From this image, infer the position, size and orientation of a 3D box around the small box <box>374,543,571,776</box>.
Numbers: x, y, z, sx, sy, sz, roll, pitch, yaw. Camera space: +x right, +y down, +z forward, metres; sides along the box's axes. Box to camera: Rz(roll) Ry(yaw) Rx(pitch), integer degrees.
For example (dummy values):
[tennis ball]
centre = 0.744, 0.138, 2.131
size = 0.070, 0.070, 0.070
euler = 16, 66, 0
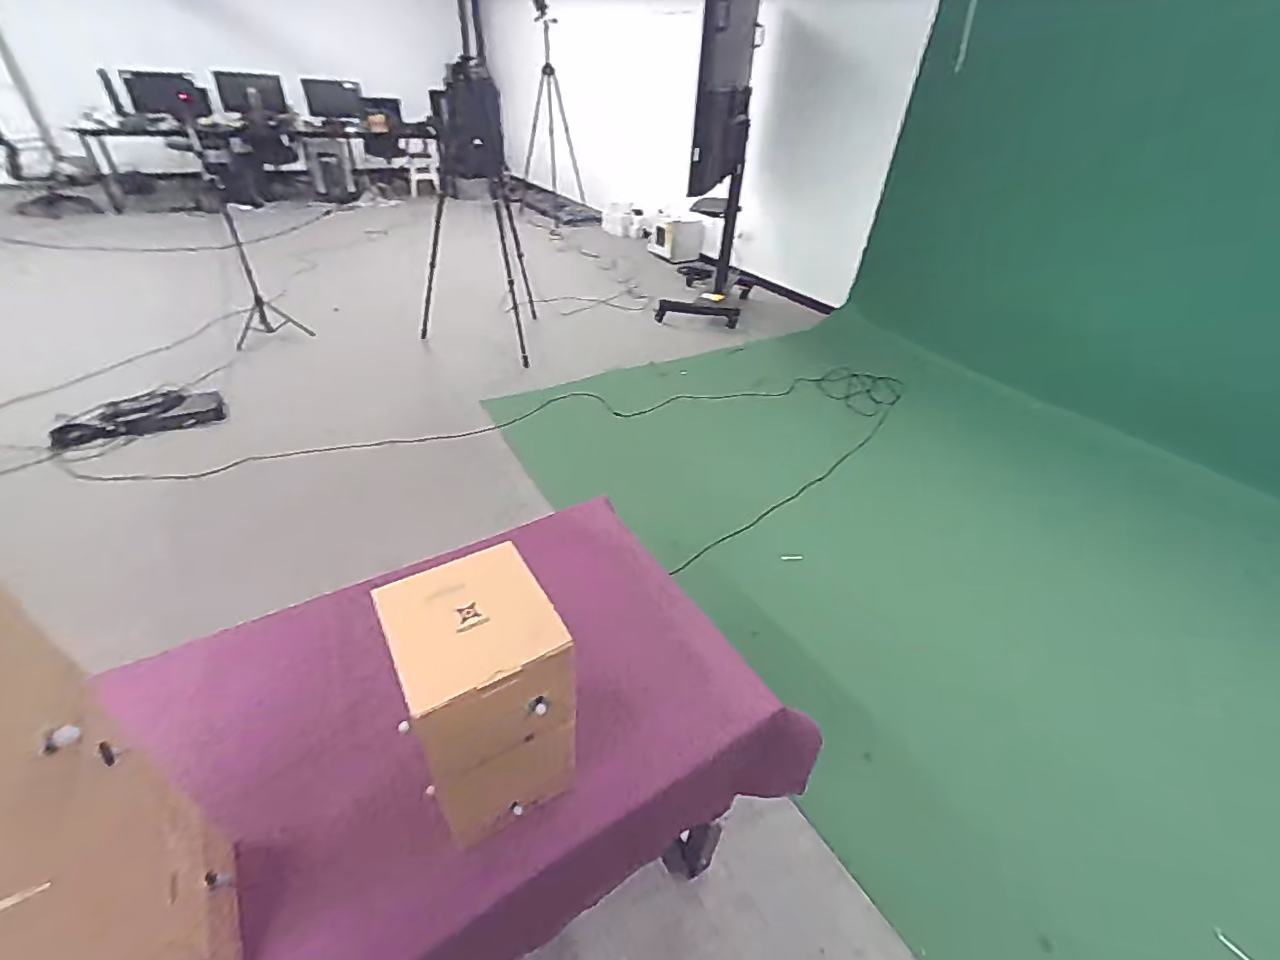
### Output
[small box]
centre = -0.189, 0.211, 0.633
size = 0.168, 0.176, 0.179
euler = -18, 43, -28
